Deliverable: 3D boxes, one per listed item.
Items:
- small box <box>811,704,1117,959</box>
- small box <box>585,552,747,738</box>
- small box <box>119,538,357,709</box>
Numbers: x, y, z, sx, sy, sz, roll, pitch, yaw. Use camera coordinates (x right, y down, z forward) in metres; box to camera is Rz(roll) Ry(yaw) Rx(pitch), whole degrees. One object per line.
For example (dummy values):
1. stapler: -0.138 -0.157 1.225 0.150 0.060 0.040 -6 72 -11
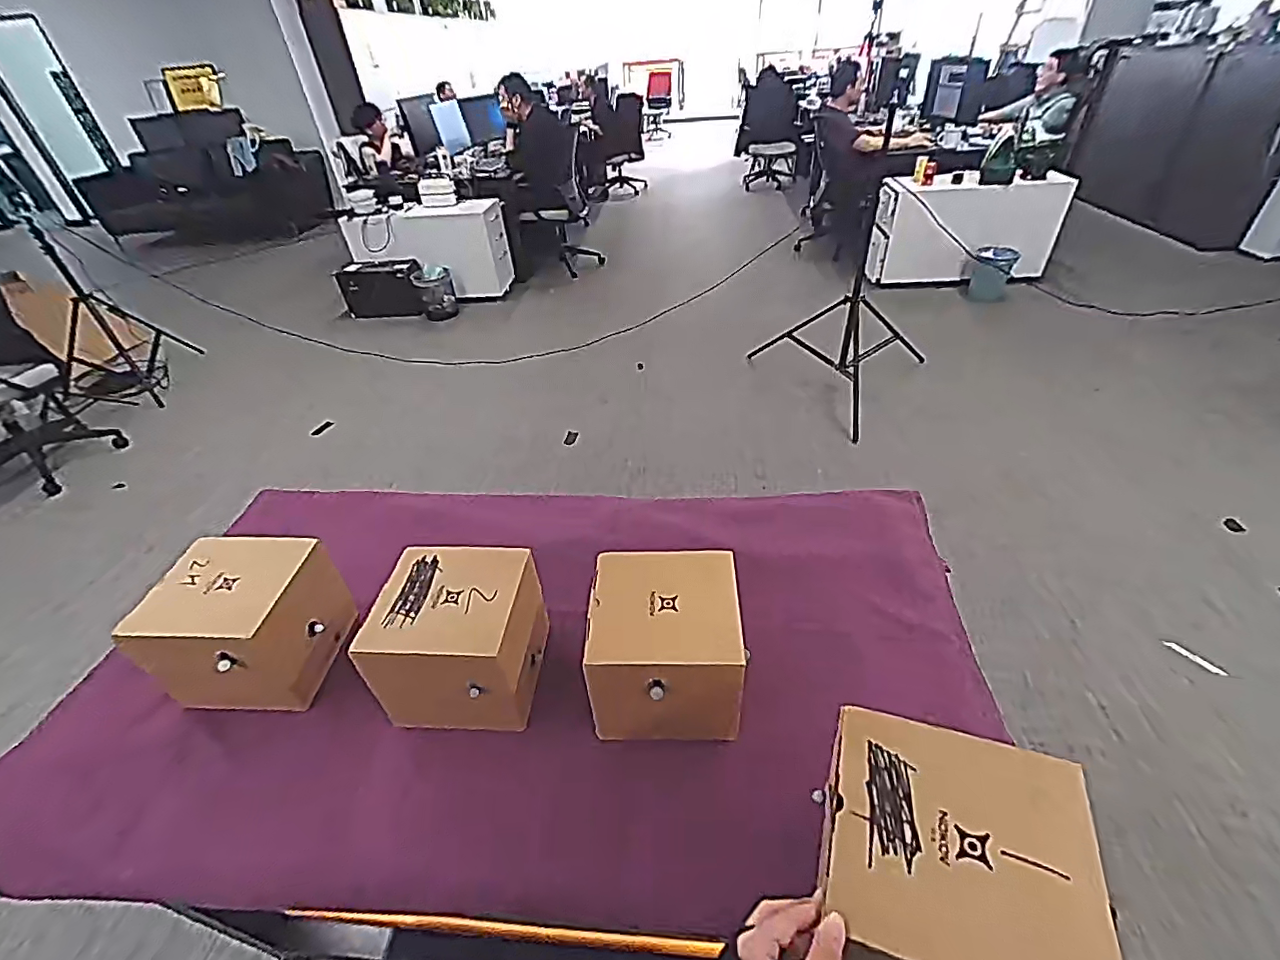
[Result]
1. small box: 0.243 0.321 0.446 0.179 0.176 0.168 8 43 21
2. small box: 0.036 0.209 0.687 0.179 0.176 0.168 -2 39 5
3. small box: -0.530 0.199 0.750 0.179 0.176 0.168 0 38 3
